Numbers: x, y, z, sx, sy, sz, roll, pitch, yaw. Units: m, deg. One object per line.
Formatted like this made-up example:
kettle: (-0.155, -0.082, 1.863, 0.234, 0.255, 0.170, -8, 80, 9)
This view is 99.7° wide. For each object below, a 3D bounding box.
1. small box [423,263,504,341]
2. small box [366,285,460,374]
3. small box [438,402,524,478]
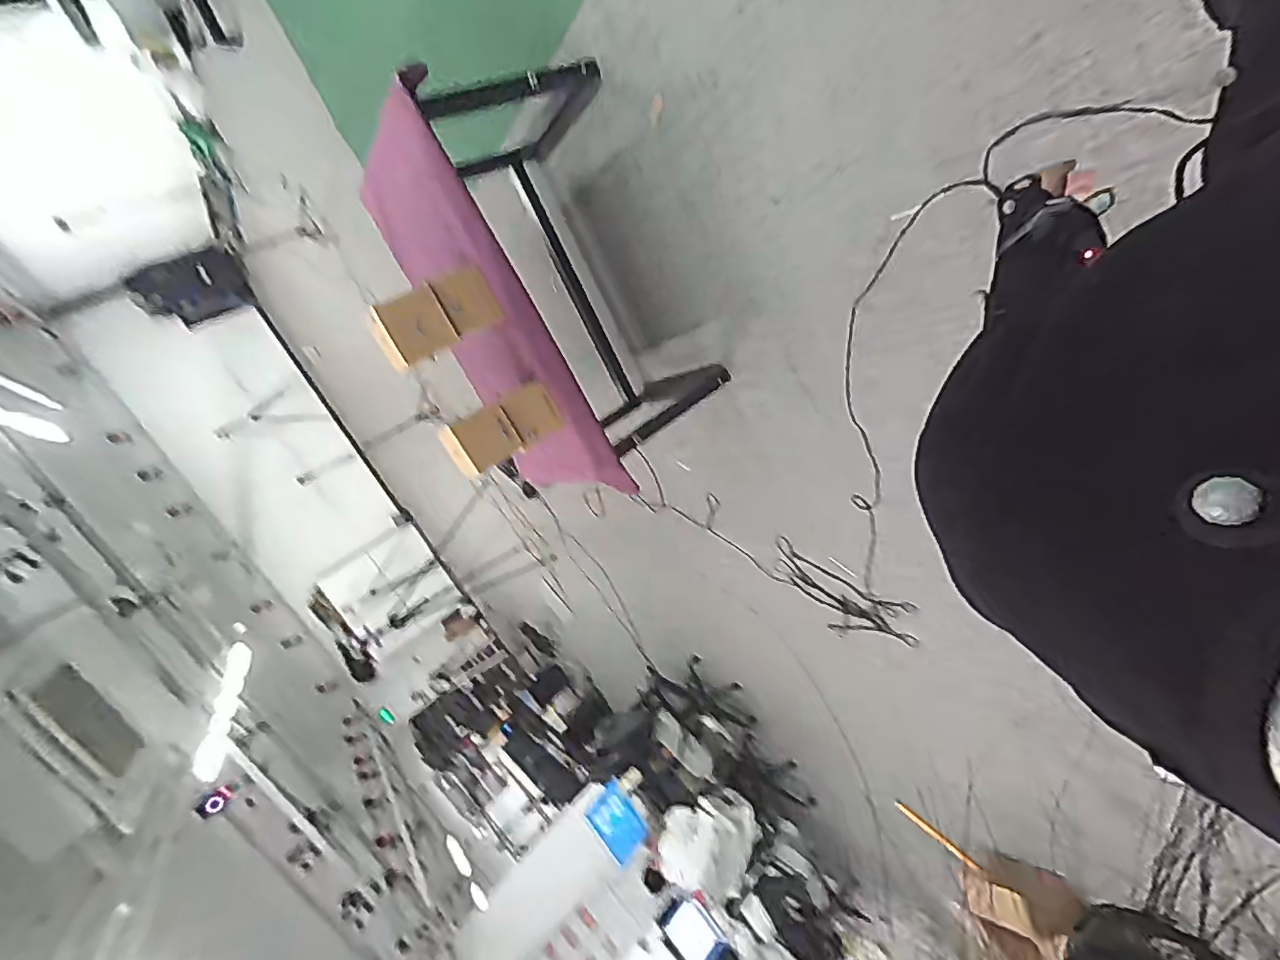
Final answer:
small box: (-0.539, -0.521, 1.624, 0.168, 0.176, 0.179, 3, 124, 55)
small box: (-0.642, -0.426, 1.538, 0.168, 0.176, 0.179, 2, 124, 56)
small box: (-0.479, -0.120, 1.639, 0.179, 0.176, 0.168, -6, 117, 58)
